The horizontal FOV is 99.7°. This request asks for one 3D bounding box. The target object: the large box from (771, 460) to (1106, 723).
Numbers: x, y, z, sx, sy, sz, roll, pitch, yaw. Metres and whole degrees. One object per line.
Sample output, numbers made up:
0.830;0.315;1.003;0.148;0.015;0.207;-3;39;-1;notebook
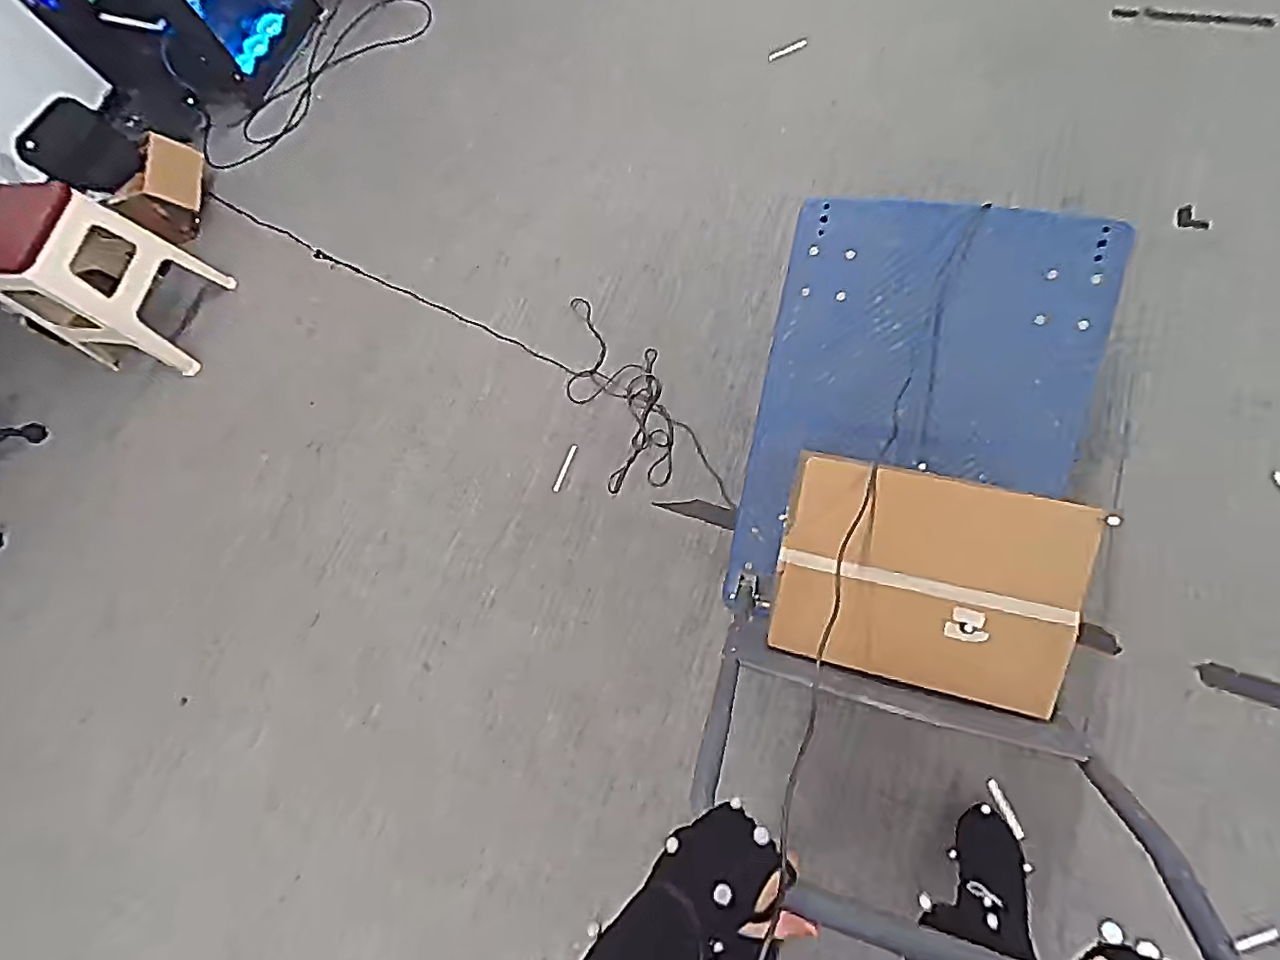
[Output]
0.455;0.151;0.939;0.408;0.320;0.320;12;98;13;large box
